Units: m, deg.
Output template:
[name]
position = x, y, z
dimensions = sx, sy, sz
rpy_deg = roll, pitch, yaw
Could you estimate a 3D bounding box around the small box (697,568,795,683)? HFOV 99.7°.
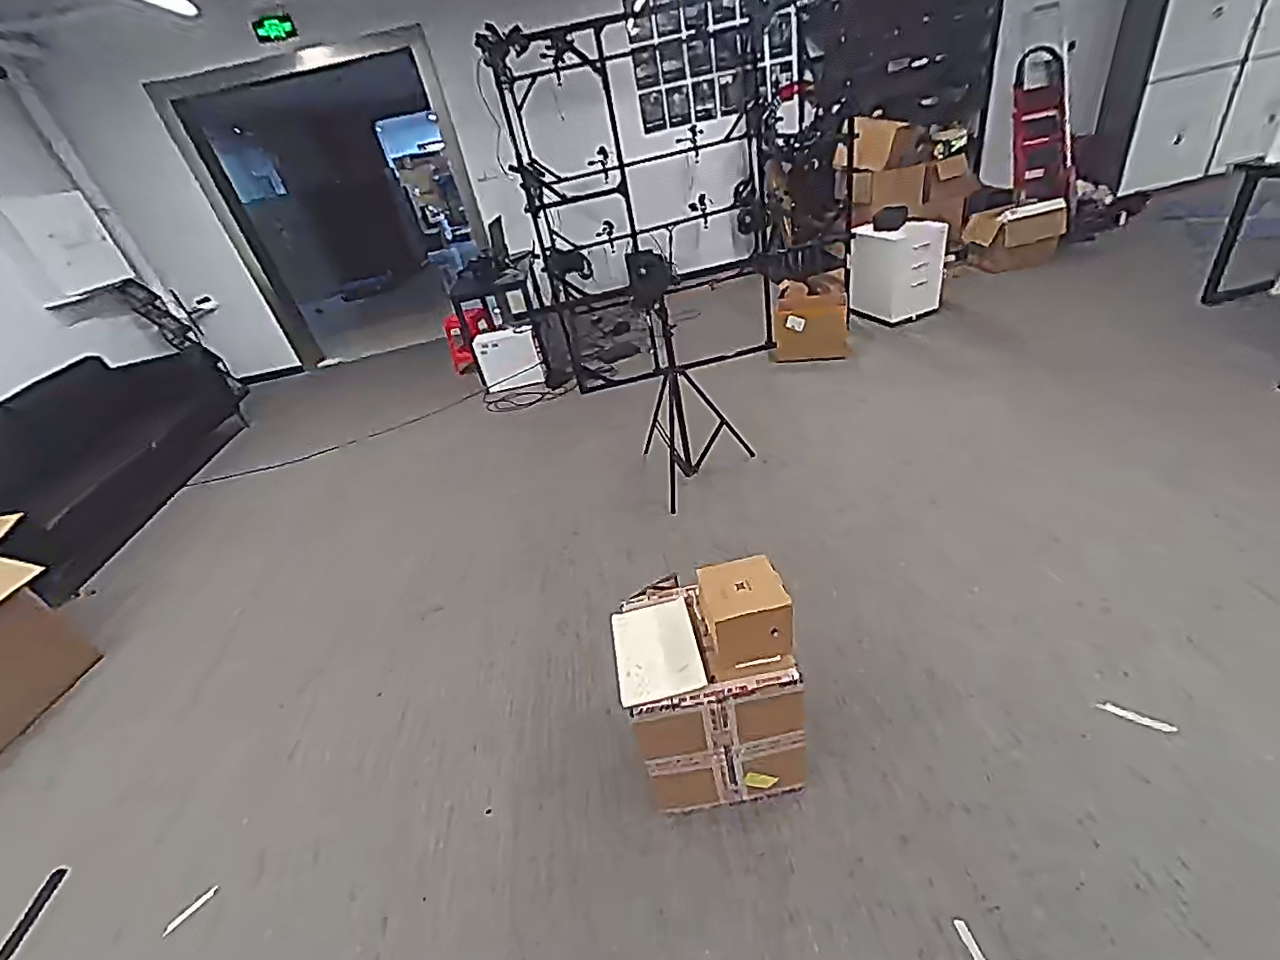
[small box]
position = 0.239, 0.333, 1.236
dimensions = 0.179, 0.176, 0.168
rpy_deg = -13, 34, -3
